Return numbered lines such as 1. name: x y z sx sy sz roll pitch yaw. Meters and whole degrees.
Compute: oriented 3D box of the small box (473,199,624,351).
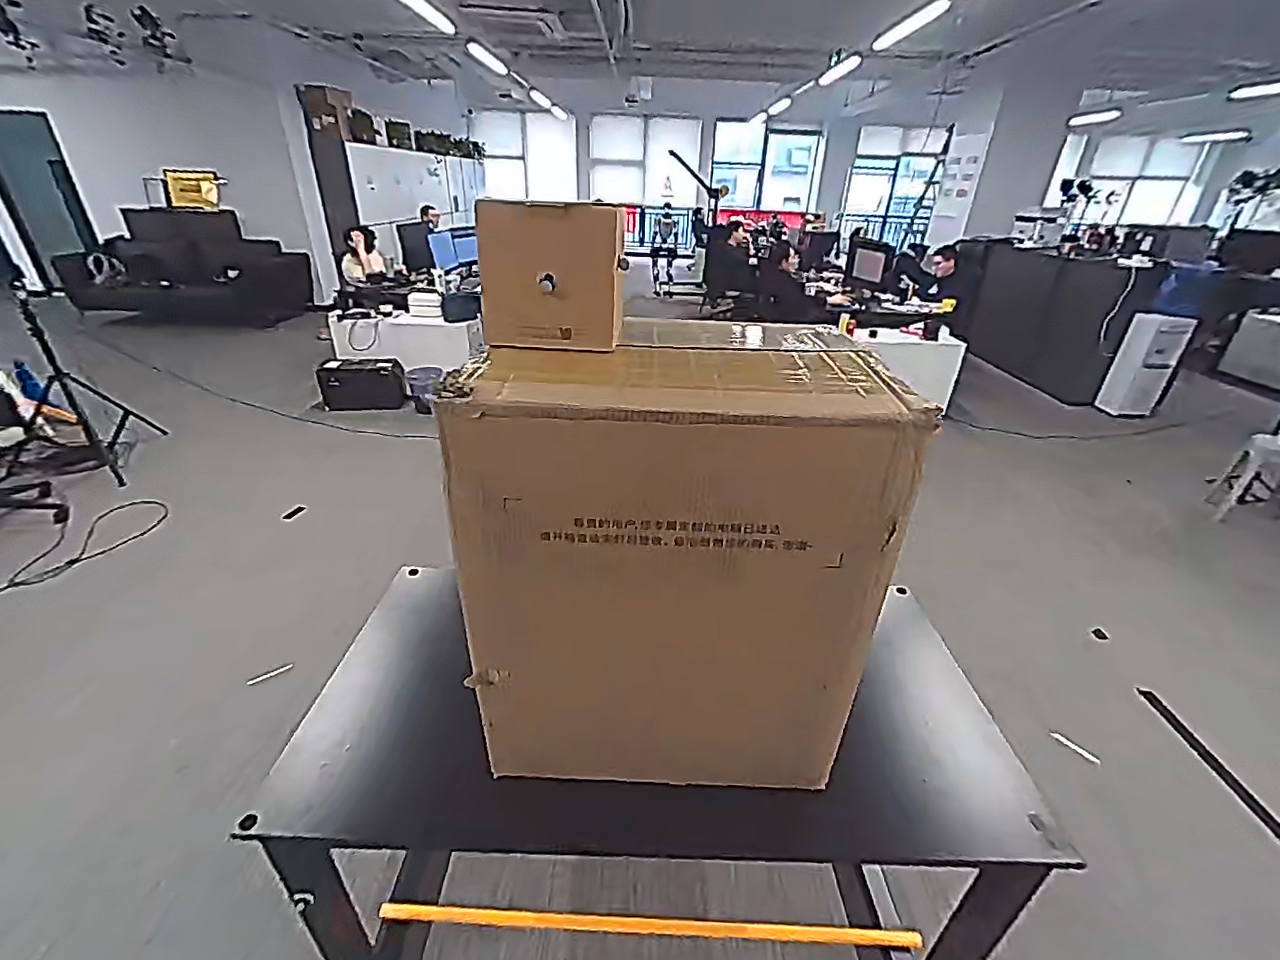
1. small box: -0.109 -0.275 0.720 0.168 0.176 0.179 3 28 0
